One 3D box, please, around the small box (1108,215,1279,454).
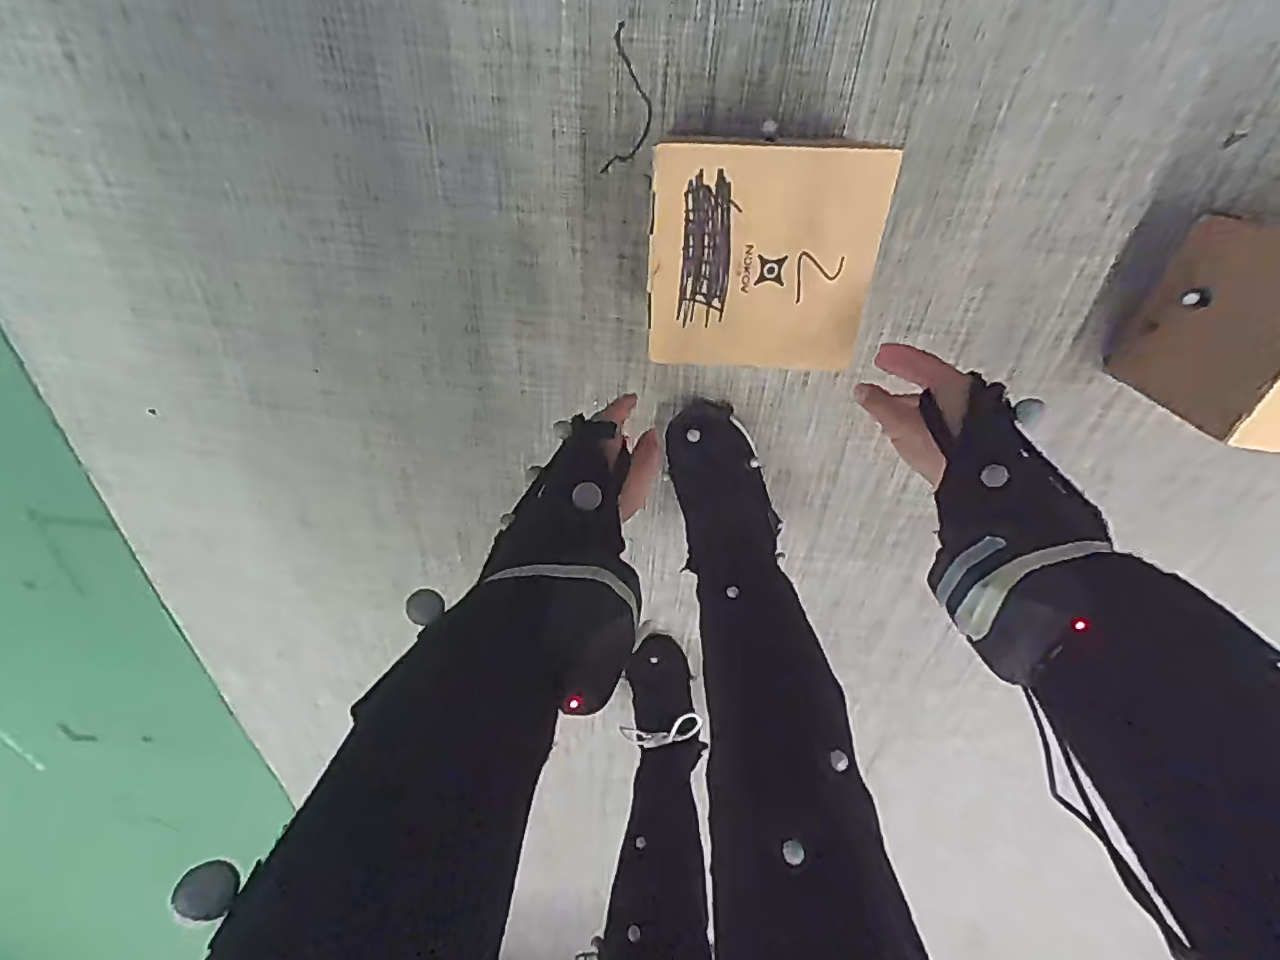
[{"bbox_3d":[0.600,-0.131,0.489,0.179,0.176,0.168,8,124,1],"label":"small box"}]
